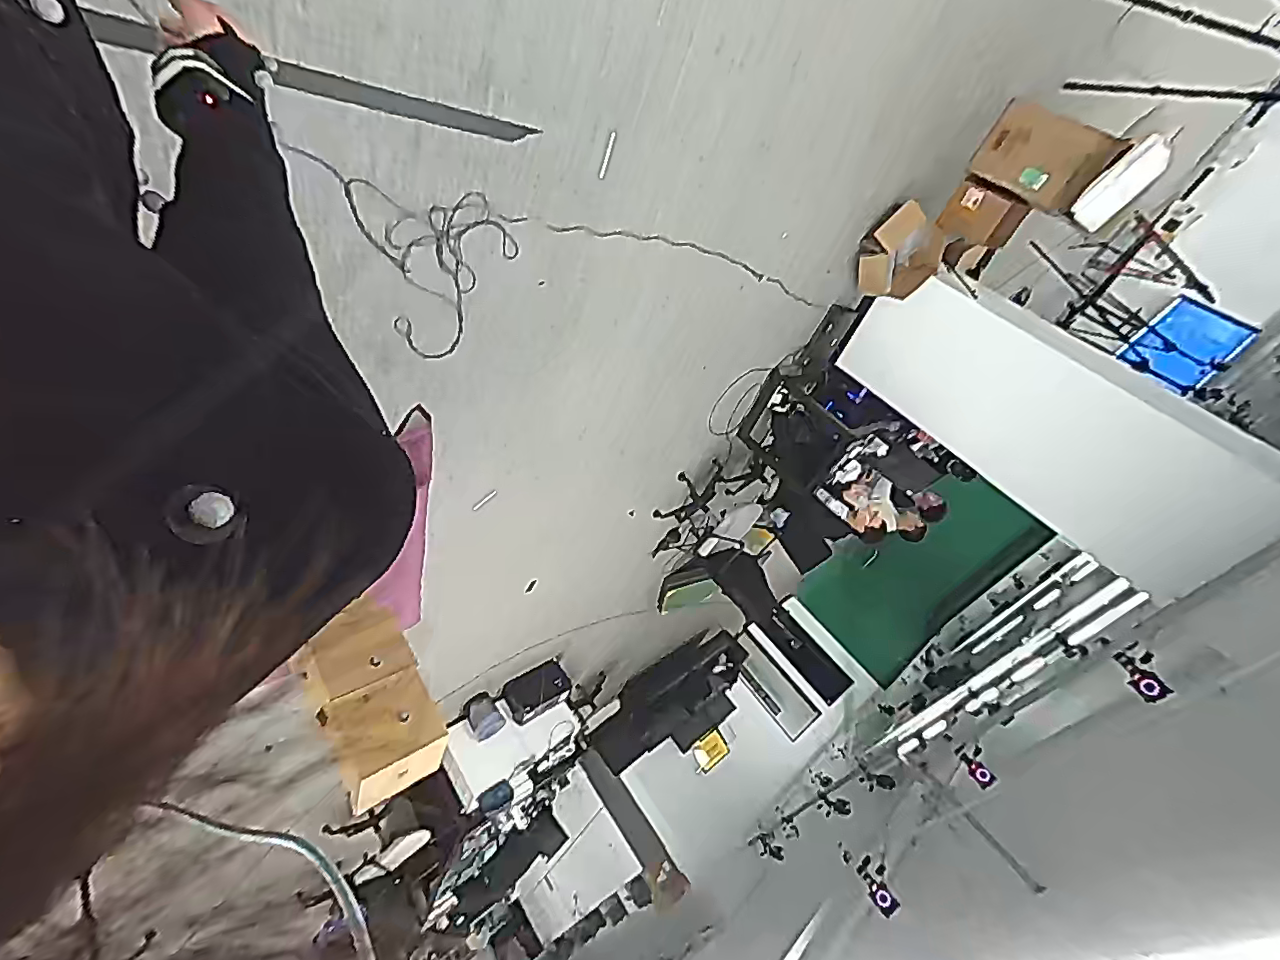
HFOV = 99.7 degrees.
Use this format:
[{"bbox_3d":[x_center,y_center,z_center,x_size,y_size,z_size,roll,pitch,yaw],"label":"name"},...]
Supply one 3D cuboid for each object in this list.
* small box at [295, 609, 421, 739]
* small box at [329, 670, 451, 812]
[{"bbox_3d":[-0.600,0.401,1.148,0.179,0.176,0.168,-11,139,-47],"label":"small box"},{"bbox_3d":[-0.501,0.506,1.074,0.168,0.176,0.179,-17,145,-42],"label":"small box"}]
